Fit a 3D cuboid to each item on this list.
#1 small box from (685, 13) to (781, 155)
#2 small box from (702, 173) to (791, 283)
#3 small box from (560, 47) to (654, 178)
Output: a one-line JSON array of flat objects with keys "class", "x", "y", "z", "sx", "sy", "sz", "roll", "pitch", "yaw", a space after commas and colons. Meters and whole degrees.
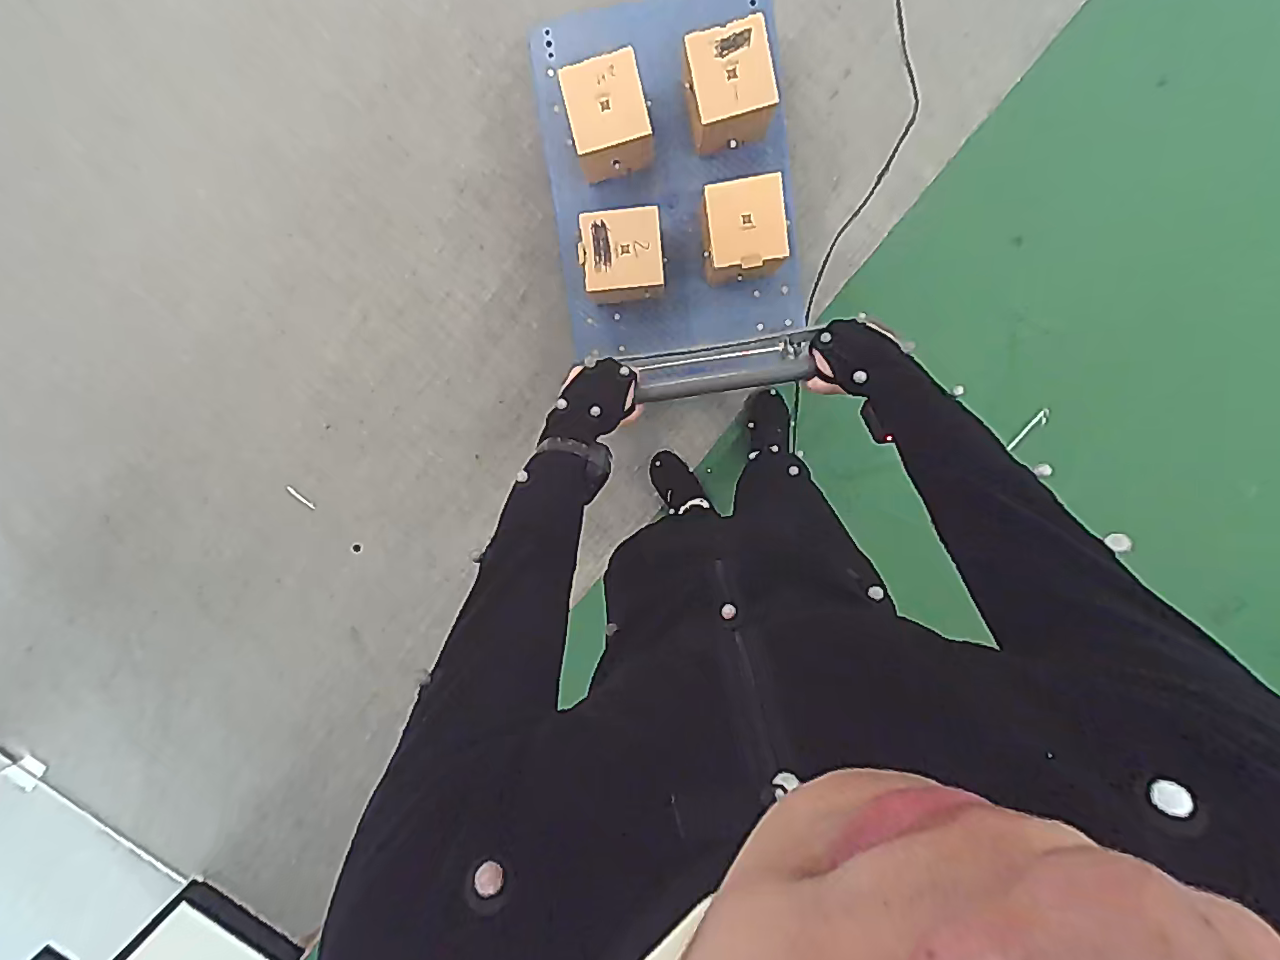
[{"class": "small box", "x": 0.197, "y": -0.855, "z": 1.186, "sx": 0.168, "sy": 0.176, "sz": 0.179, "roll": -13, "pitch": 99, "yaw": 5}, {"class": "small box", "x": 0.237, "y": -0.565, "z": 1.233, "sx": 0.168, "sy": 0.176, "sz": 0.179, "roll": -8, "pitch": 99, "yaw": 4}, {"class": "small box", "x": -0.066, "y": -0.804, "z": 1.207, "sx": 0.168, "sy": 0.176, "sz": 0.179, "roll": -13, "pitch": 98, "yaw": 4}]
